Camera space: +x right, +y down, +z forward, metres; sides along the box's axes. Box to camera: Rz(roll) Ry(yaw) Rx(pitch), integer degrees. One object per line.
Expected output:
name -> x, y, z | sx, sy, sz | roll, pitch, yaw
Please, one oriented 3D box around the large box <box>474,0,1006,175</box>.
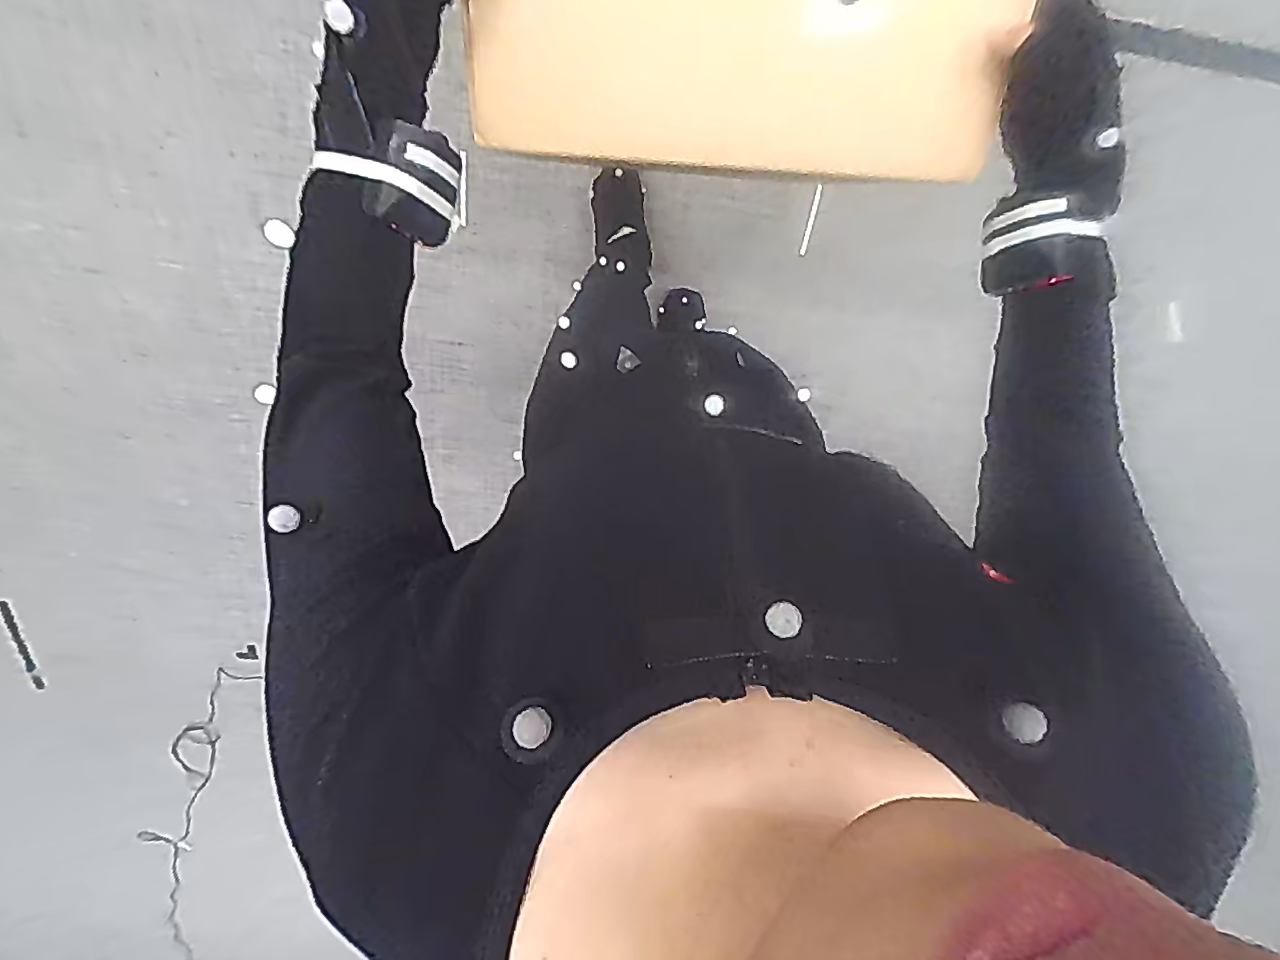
large box -> 0.069, -0.470, 0.503 | 0.408, 0.320, 0.320 | 1, 120, -5
